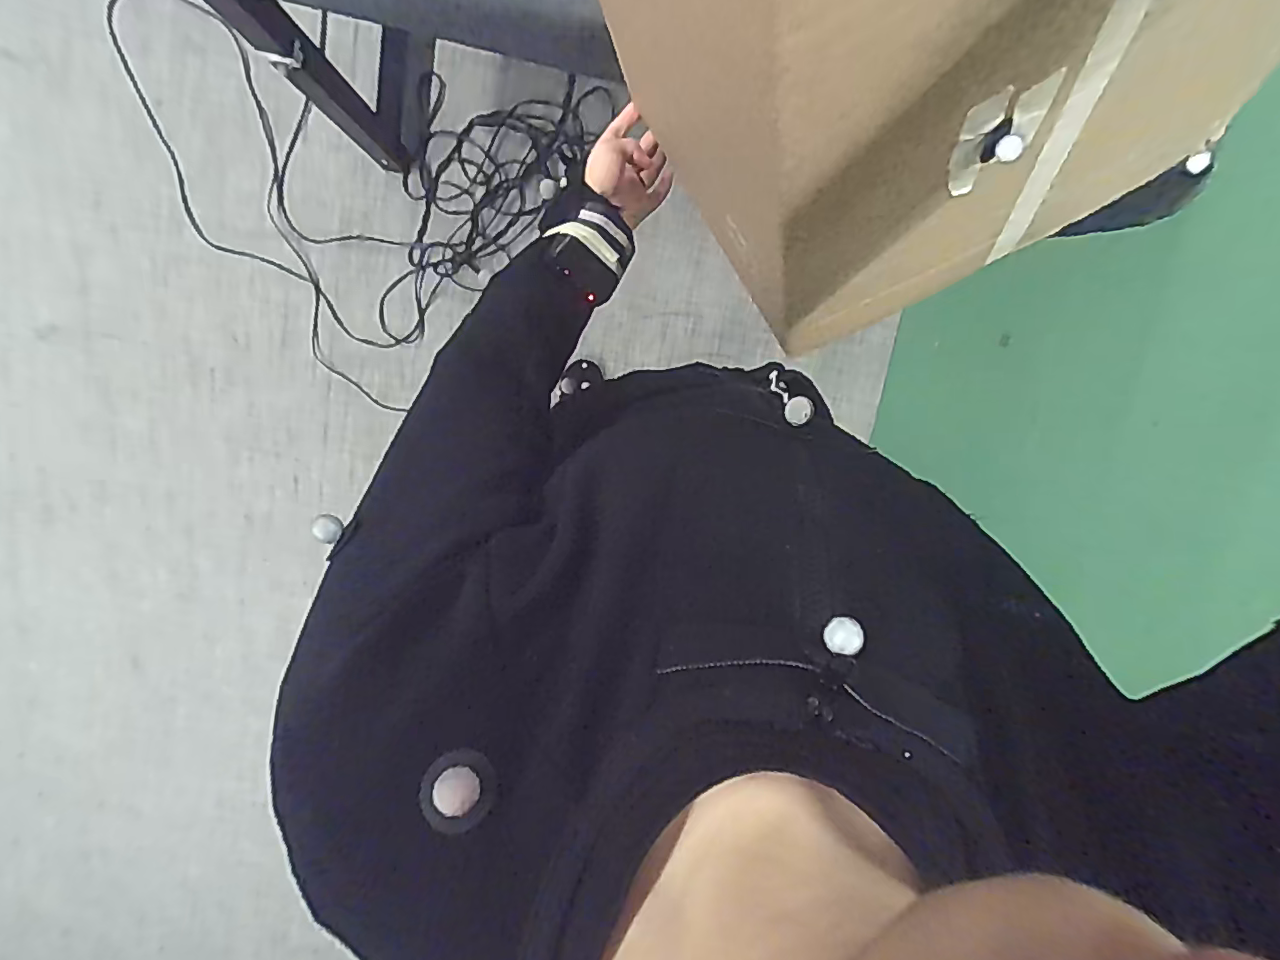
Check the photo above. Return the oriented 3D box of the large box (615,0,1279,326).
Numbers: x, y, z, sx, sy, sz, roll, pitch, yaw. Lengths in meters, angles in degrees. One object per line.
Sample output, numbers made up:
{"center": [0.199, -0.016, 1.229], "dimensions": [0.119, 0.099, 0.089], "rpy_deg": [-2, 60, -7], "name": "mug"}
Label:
{"center": [0.137, -0.359, 0.260], "dimensions": [0.320, 0.408, 0.320], "rpy_deg": [-27, 71, 9], "name": "large box"}
